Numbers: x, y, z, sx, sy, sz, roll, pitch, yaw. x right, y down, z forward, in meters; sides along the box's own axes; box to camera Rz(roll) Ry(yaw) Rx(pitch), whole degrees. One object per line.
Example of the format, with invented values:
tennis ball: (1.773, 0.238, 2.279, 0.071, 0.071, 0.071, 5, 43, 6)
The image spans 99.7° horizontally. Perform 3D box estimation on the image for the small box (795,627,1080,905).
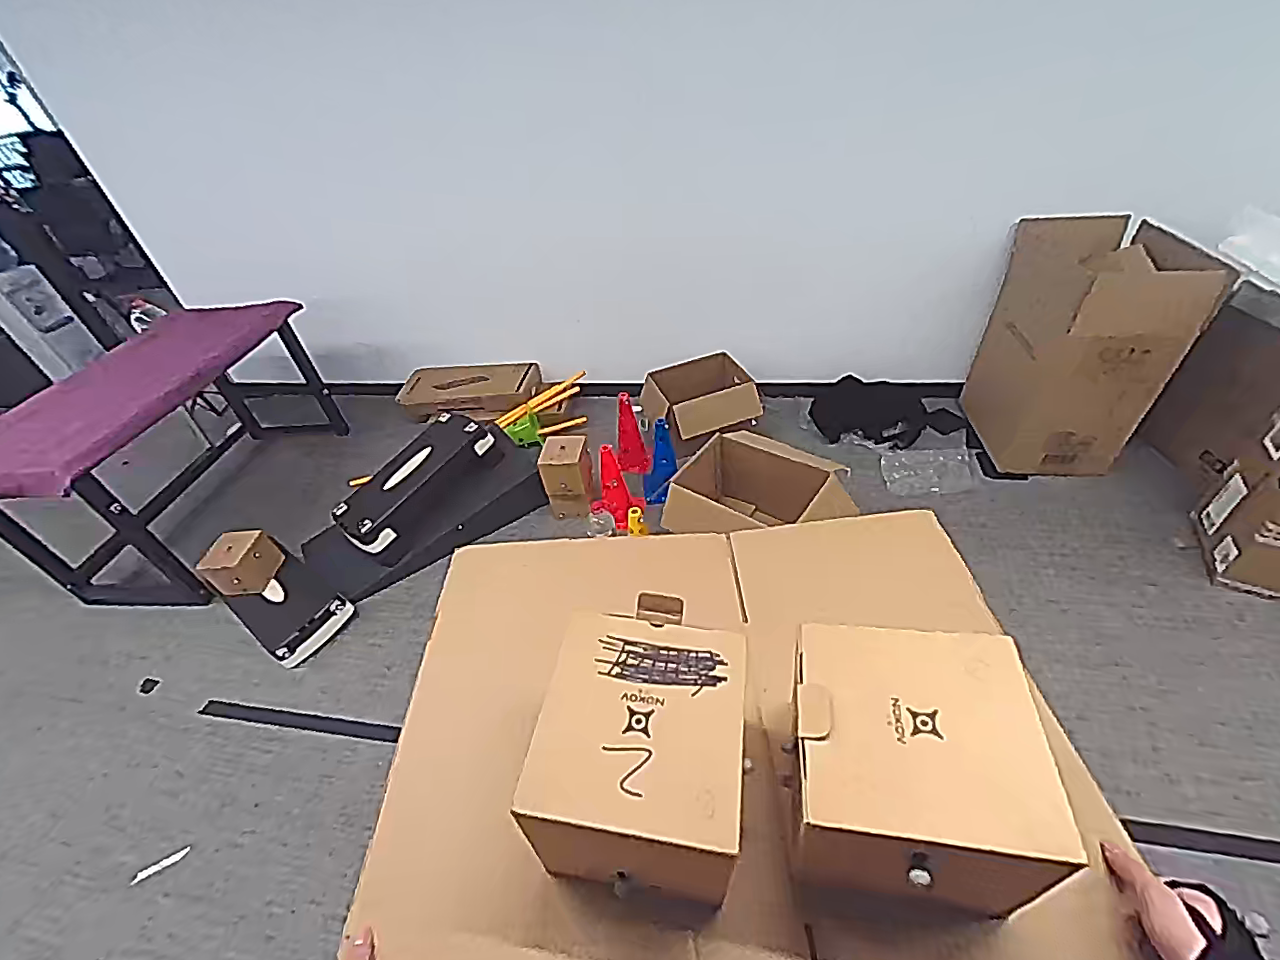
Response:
small box: (0.233, 0.253, 0.483, 0.179, 0.176, 0.168, 0, 43, 14)
